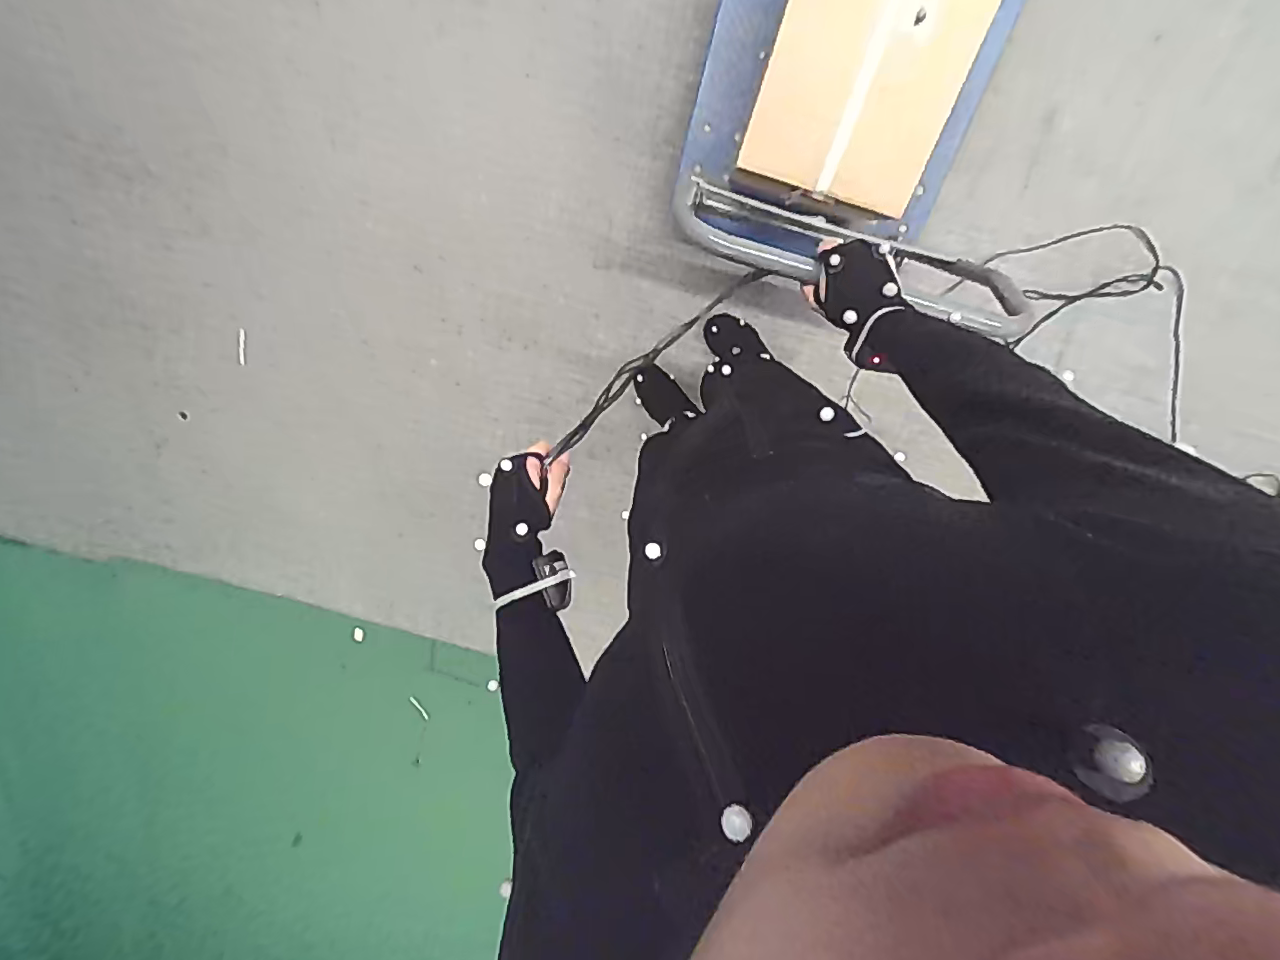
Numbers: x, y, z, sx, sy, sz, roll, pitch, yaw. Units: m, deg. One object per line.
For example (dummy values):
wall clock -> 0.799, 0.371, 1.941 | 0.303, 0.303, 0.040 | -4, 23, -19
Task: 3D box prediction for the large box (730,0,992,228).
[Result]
large box -> 0.385, -0.738, 1.032 | 0.320, 0.320, 0.408 | 17, 114, -2
